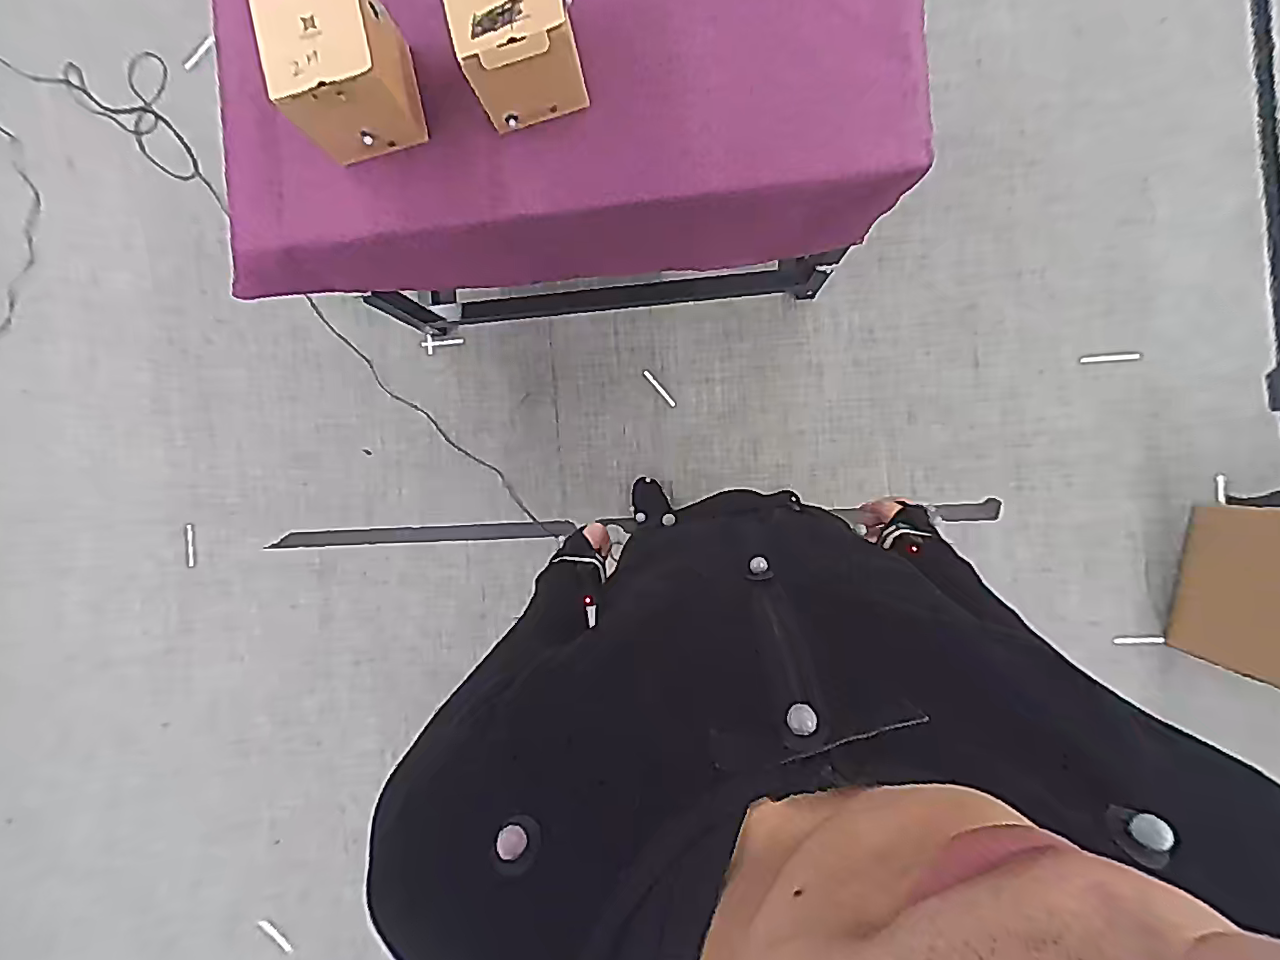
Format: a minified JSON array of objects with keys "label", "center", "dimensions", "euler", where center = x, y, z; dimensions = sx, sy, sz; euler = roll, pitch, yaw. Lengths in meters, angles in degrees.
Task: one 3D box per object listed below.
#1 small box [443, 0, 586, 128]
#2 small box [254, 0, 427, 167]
[{"label":"small box","center":[-0.192,-0.692,0.847],"dimensions":[0.168,0.176,0.179],"euler":[-14,89,5]},{"label":"small box","center":[-0.471,-0.652,0.872],"dimensions":[0.168,0.176,0.179],"euler":[-12,90,6]}]
